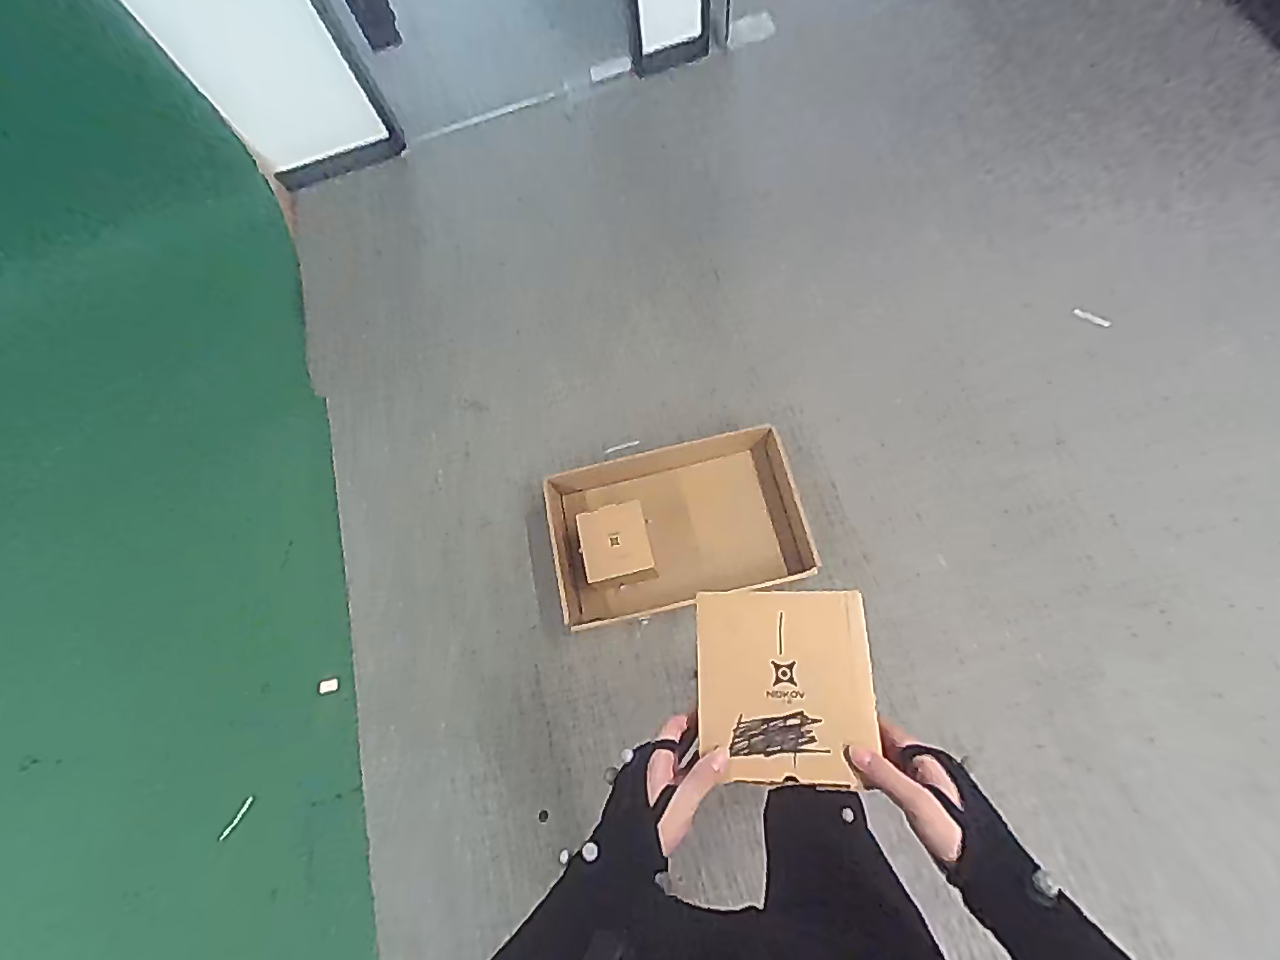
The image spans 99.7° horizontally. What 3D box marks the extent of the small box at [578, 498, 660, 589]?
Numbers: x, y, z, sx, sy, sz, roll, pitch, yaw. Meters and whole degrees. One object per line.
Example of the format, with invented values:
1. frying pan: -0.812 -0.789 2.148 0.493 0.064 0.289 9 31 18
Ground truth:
1. small box: -0.050 0.166 1.369 0.168 0.176 0.179 -14 71 2

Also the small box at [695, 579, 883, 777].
1. small box: 0.147 0.208 0.587 0.168 0.176 0.179 -2 69 7
